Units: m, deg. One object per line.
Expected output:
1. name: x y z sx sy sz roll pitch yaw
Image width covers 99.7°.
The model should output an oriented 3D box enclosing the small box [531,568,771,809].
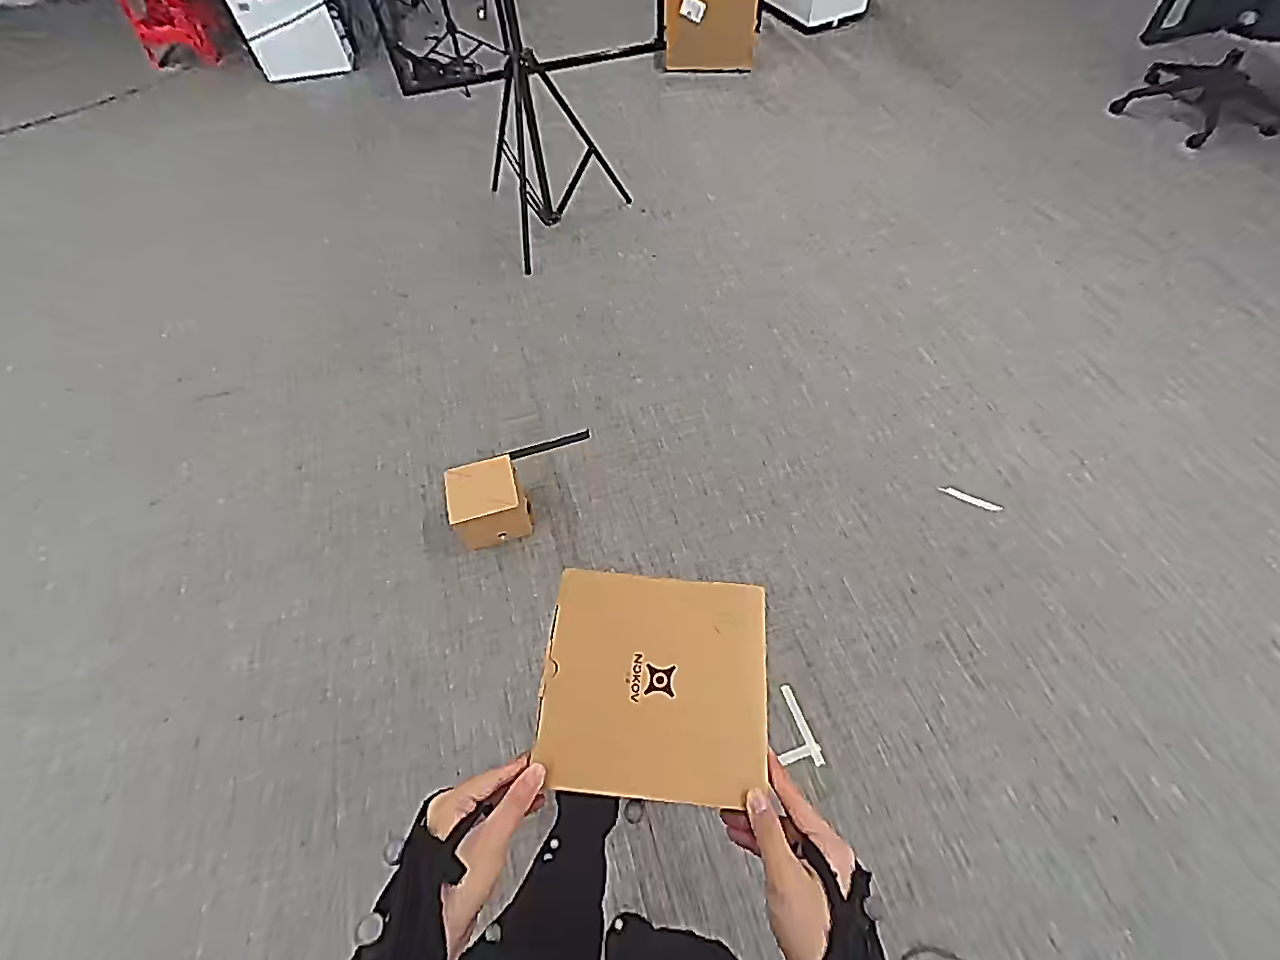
1. small box: 0.016 0.191 0.494 0.179 0.176 0.168 4 62 5

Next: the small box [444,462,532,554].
1. small box: -0.404 0.072 1.445 0.179 0.176 0.168 -15 59 -7
